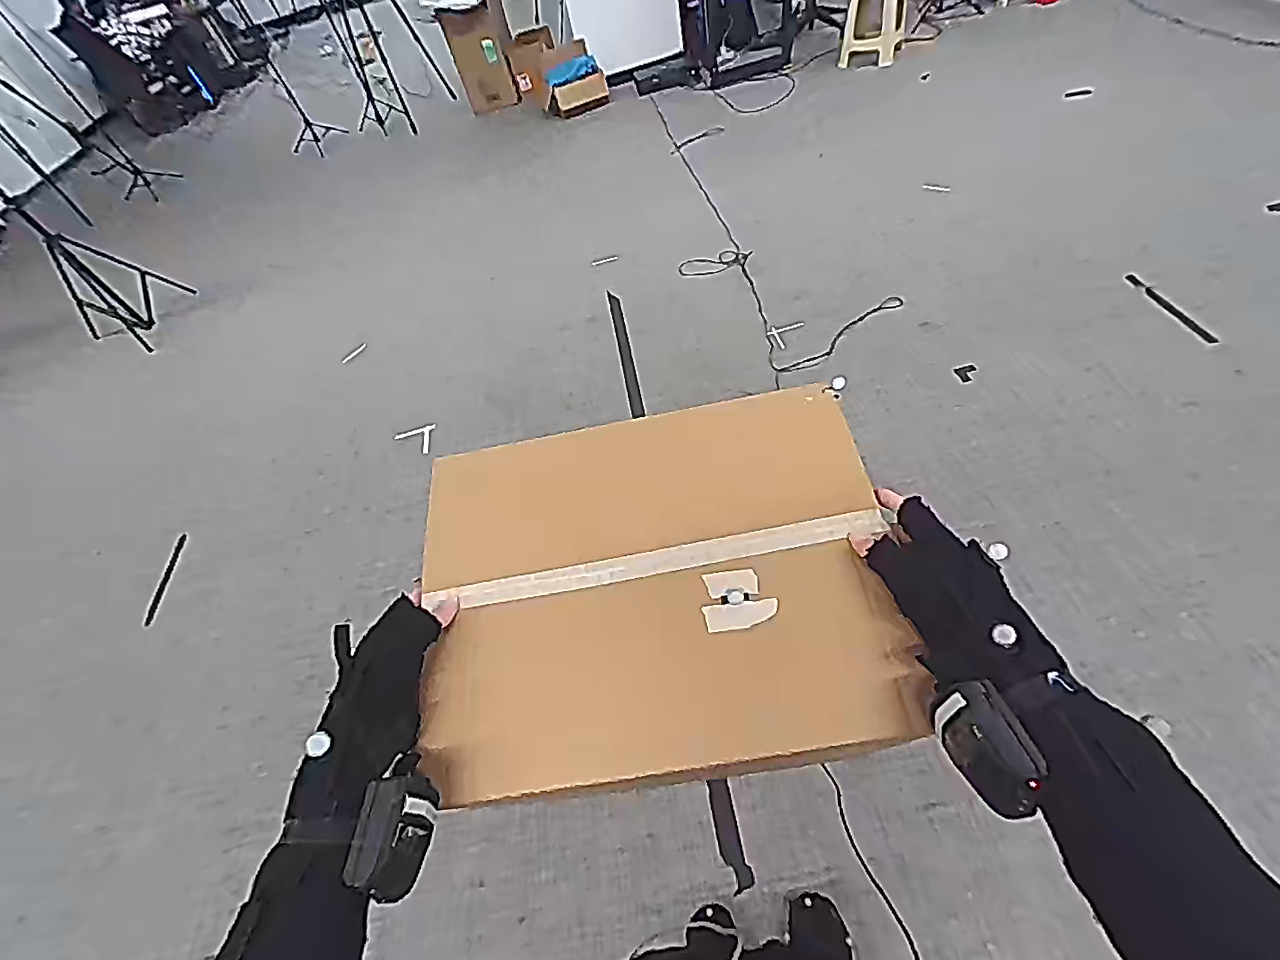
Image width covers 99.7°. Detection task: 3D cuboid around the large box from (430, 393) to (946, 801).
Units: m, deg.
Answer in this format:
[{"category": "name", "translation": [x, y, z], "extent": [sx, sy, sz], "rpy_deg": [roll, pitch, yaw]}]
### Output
[{"category": "large box", "translation": [0.030, 0.152, 0.606], "extent": [0.408, 0.320, 0.320], "rpy_deg": [-11, 59, 3]}]
